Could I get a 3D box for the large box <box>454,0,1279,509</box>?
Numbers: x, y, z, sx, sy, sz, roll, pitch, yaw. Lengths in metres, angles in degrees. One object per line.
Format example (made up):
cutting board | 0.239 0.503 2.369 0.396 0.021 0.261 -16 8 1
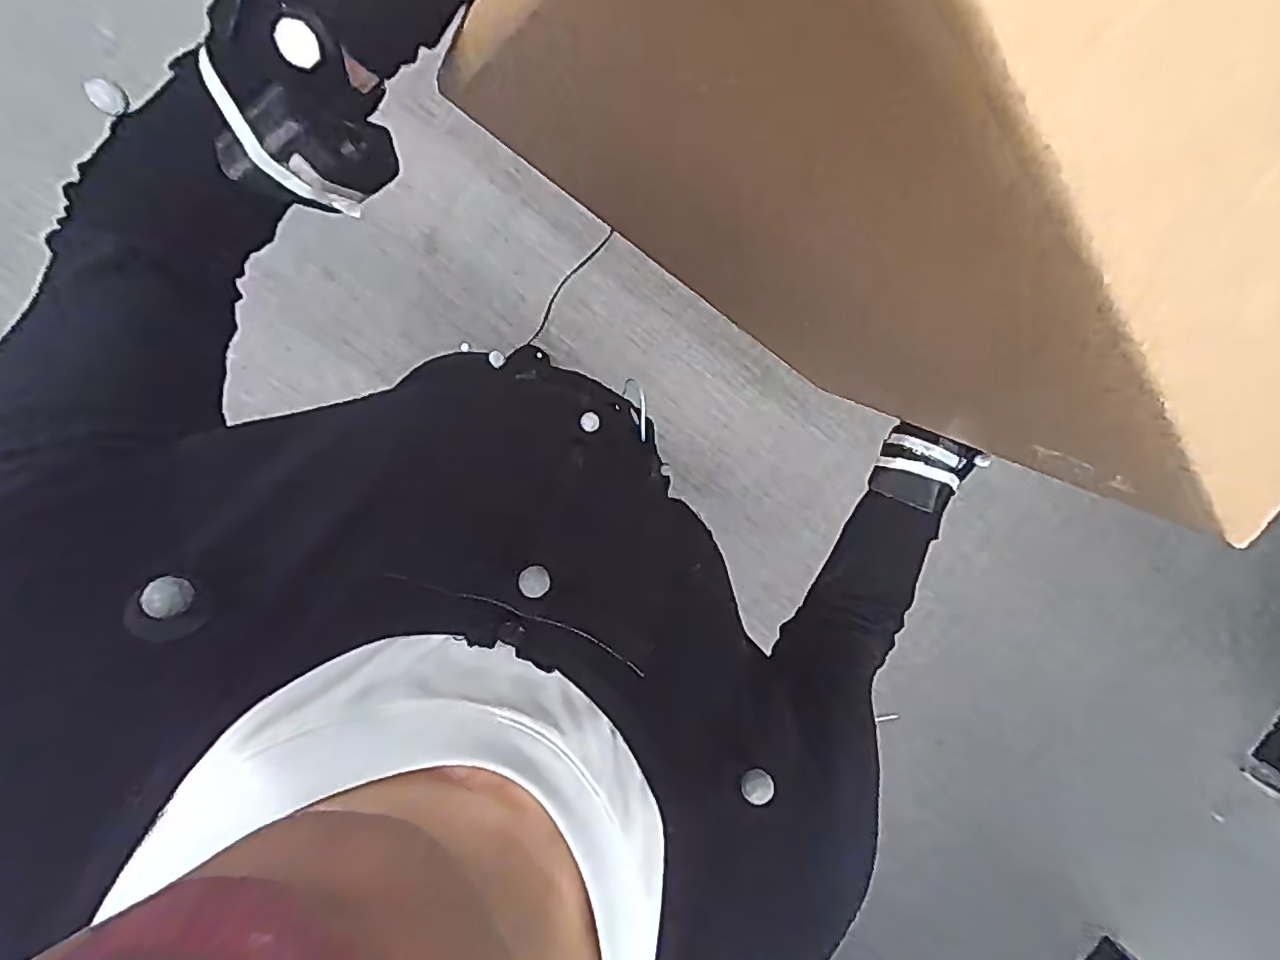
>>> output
large box | 0.177 -0.234 0.277 0.408 0.320 0.320 24 102 -36
